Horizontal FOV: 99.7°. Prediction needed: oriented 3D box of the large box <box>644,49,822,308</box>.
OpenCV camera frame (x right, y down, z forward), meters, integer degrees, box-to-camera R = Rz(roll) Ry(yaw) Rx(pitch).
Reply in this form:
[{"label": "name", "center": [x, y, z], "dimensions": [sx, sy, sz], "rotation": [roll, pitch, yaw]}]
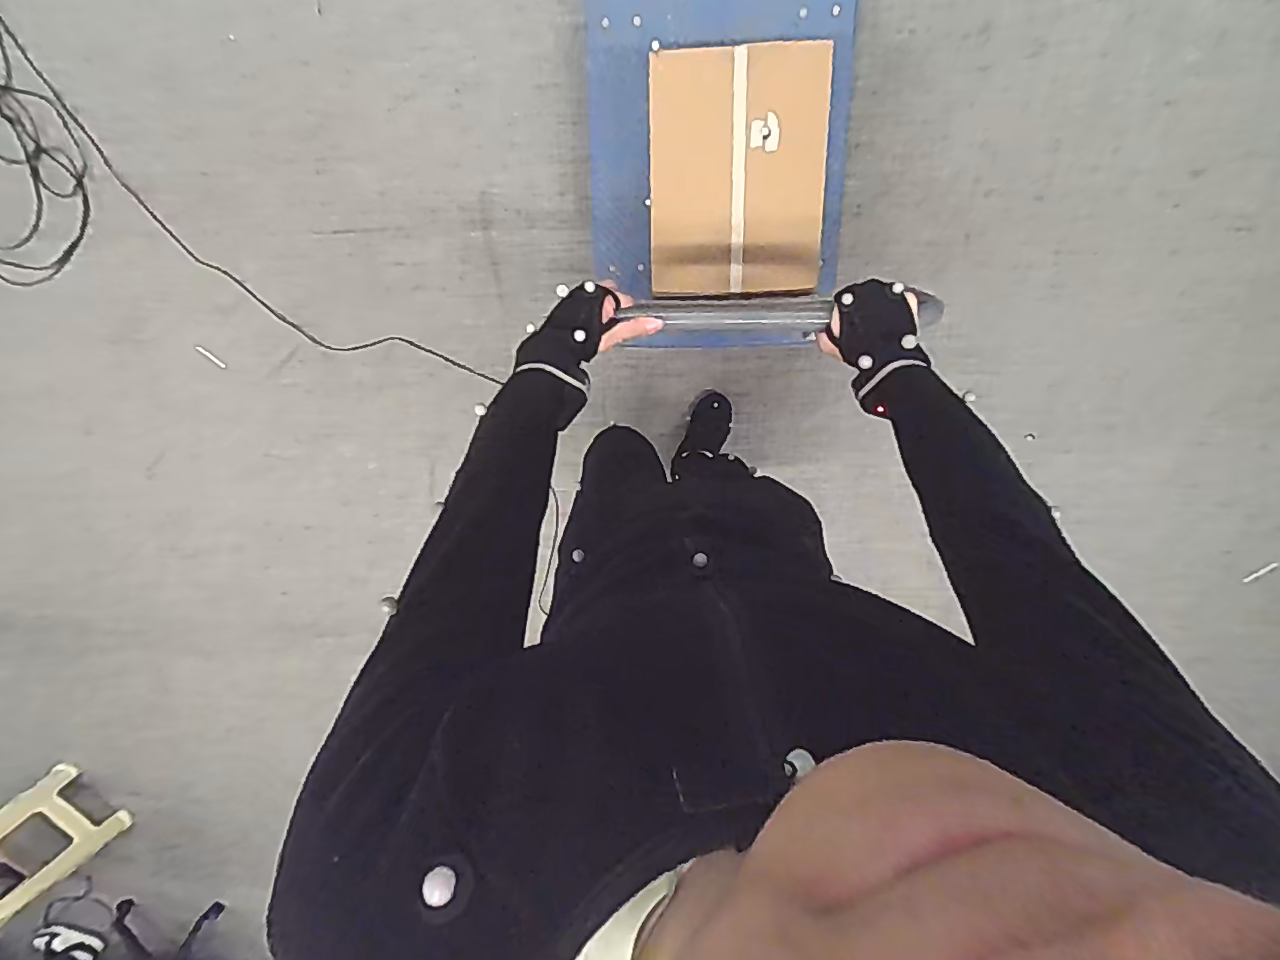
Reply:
[{"label": "large box", "center": [0.179, -0.583, 1.130], "dimensions": [0.320, 0.320, 0.408], "rotation": [0, 104, 3]}]
